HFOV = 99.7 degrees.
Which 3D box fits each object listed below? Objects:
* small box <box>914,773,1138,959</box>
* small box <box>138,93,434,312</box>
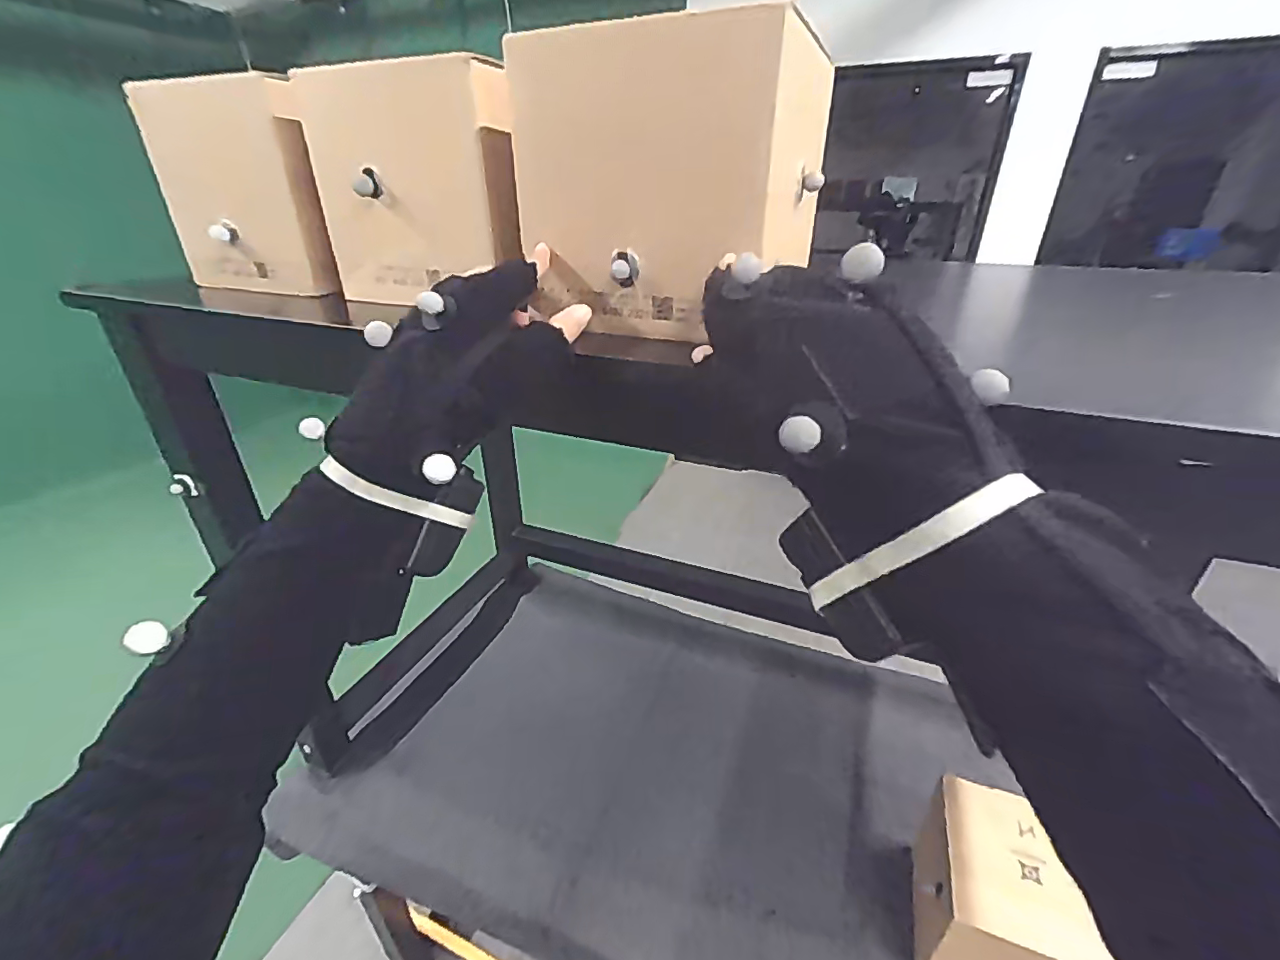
[{"bbox_3d":[0.429,0.498,0.632,0.168,0.176,0.179,11,29,20],"label":"small box"},{"bbox_3d":[-0.335,-0.278,0.553,0.168,0.176,0.179,10,30,19],"label":"small box"}]
